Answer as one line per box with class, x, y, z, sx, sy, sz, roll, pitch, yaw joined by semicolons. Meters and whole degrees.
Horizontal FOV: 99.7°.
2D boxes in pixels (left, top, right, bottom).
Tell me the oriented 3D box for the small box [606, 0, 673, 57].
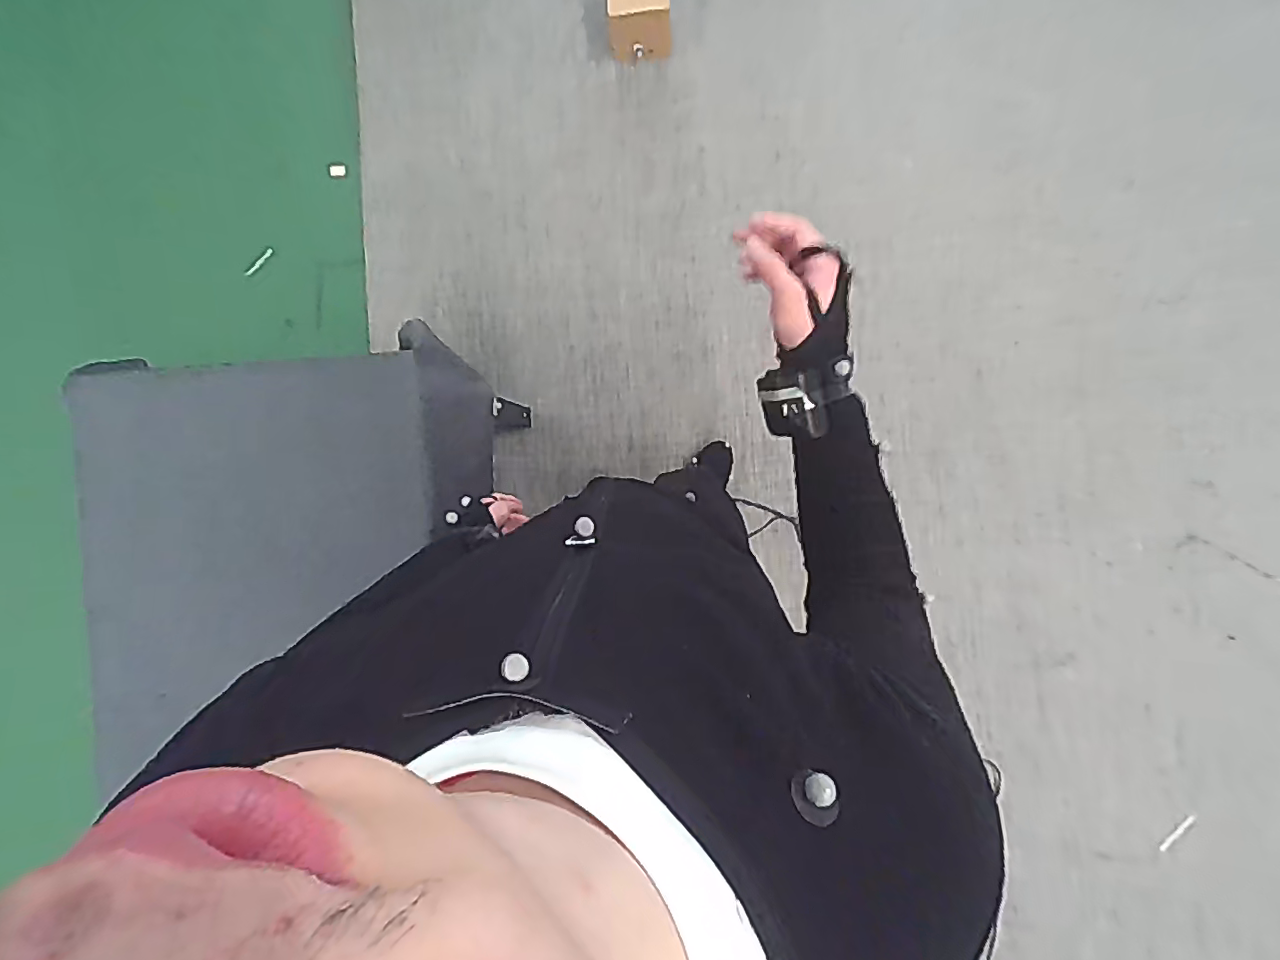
small box;0.002;-1.295;1.456;0.168;0.176;0.179;-1;91;7
